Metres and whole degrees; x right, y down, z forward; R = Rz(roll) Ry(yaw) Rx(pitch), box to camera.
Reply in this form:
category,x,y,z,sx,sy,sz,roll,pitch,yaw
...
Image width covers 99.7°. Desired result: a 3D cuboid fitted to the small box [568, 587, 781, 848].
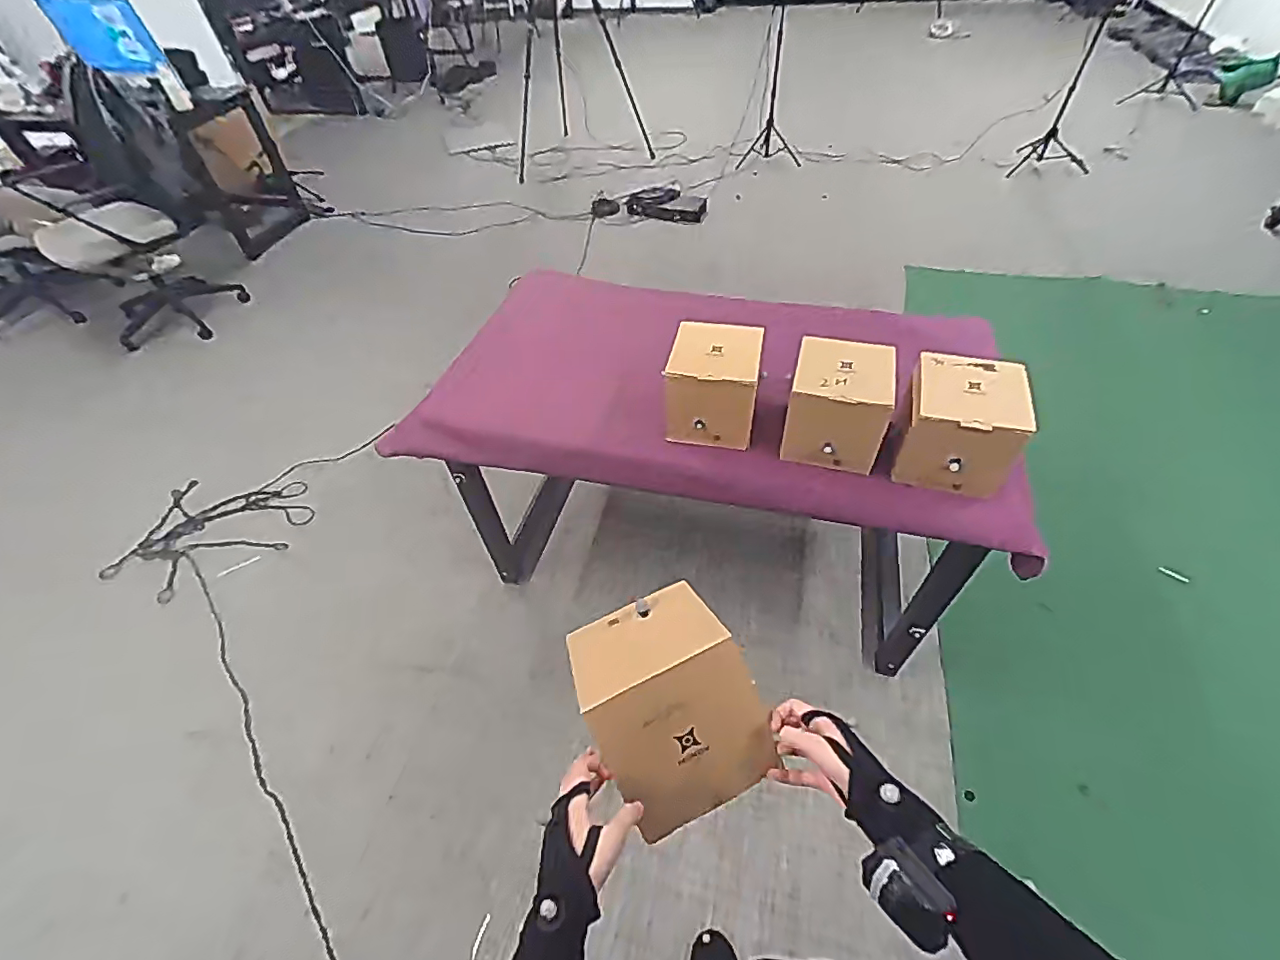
category,x,y,z,sx,sy,sz,roll,pitch,yaw
small box,0.029,0.253,0.616,0.168,0.179,0.176,-25,14,-7
